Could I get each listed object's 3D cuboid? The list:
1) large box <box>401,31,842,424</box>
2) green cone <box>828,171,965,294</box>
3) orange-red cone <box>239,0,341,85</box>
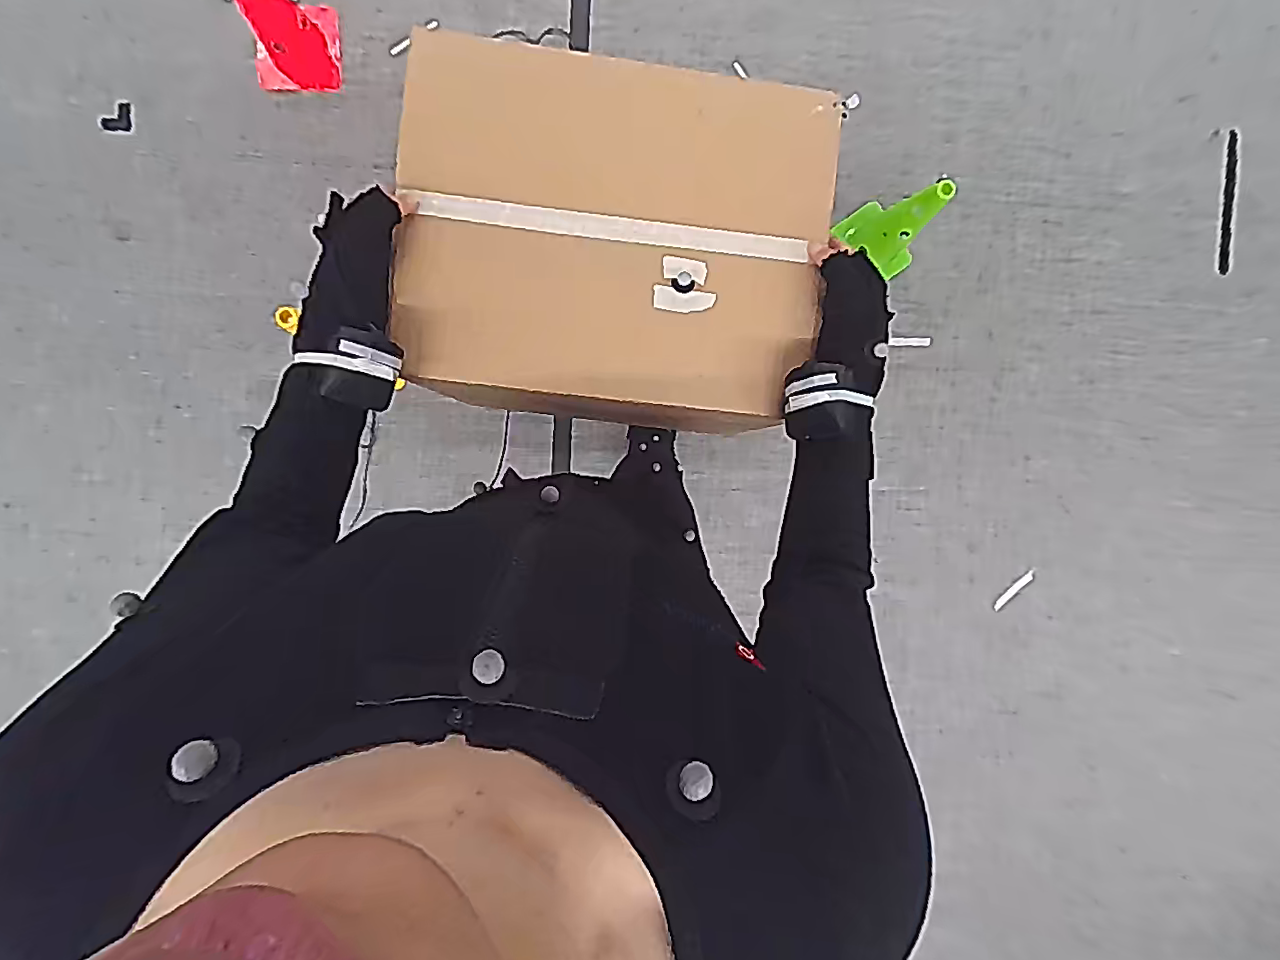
[{"bbox_3d":[-0.026,-0.247,0.659,0.408,0.320,0.320,6,92,-5],"label":"large box"},{"bbox_3d":[0.630,-0.620,1.286,0.202,0.368,0.200,-36,96,-2],"label":"green cone"},{"bbox_3d":[-0.837,-1.067,1.167,0.198,0.360,0.199,-1,95,-2],"label":"orange-red cone"}]
